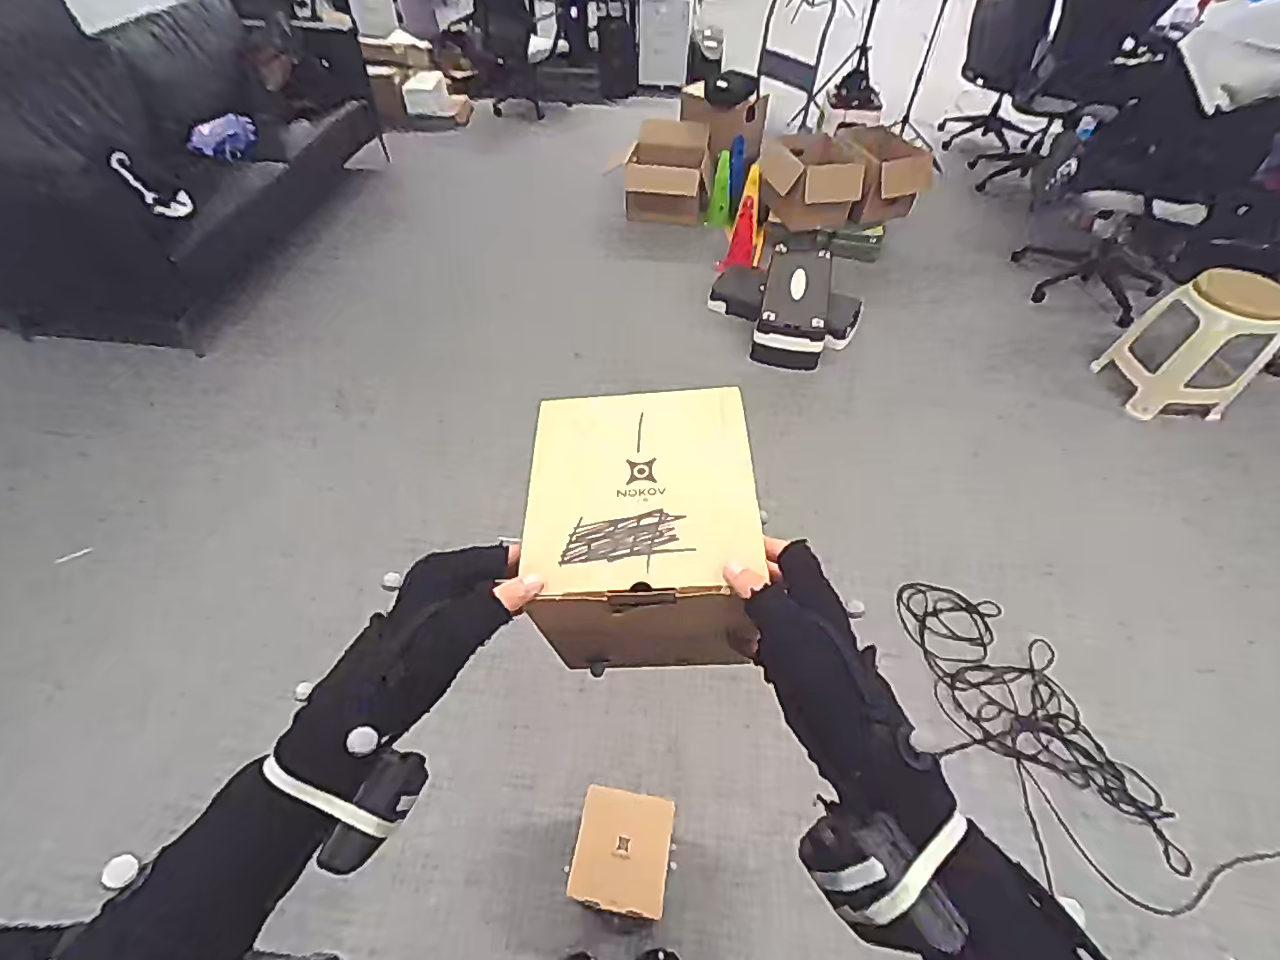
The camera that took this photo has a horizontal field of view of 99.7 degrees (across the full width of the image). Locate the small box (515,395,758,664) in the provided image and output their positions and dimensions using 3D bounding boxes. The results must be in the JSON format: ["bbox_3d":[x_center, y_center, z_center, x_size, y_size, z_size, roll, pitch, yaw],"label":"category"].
[{"bbox_3d":[0.006,0.052,0.464,0.168,0.176,0.179,-3,54,4],"label":"small box"}]

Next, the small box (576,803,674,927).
[{"bbox_3d":[-0.027,0.813,1.139,0.168,0.176,0.179,9,51,8],"label":"small box"}]
